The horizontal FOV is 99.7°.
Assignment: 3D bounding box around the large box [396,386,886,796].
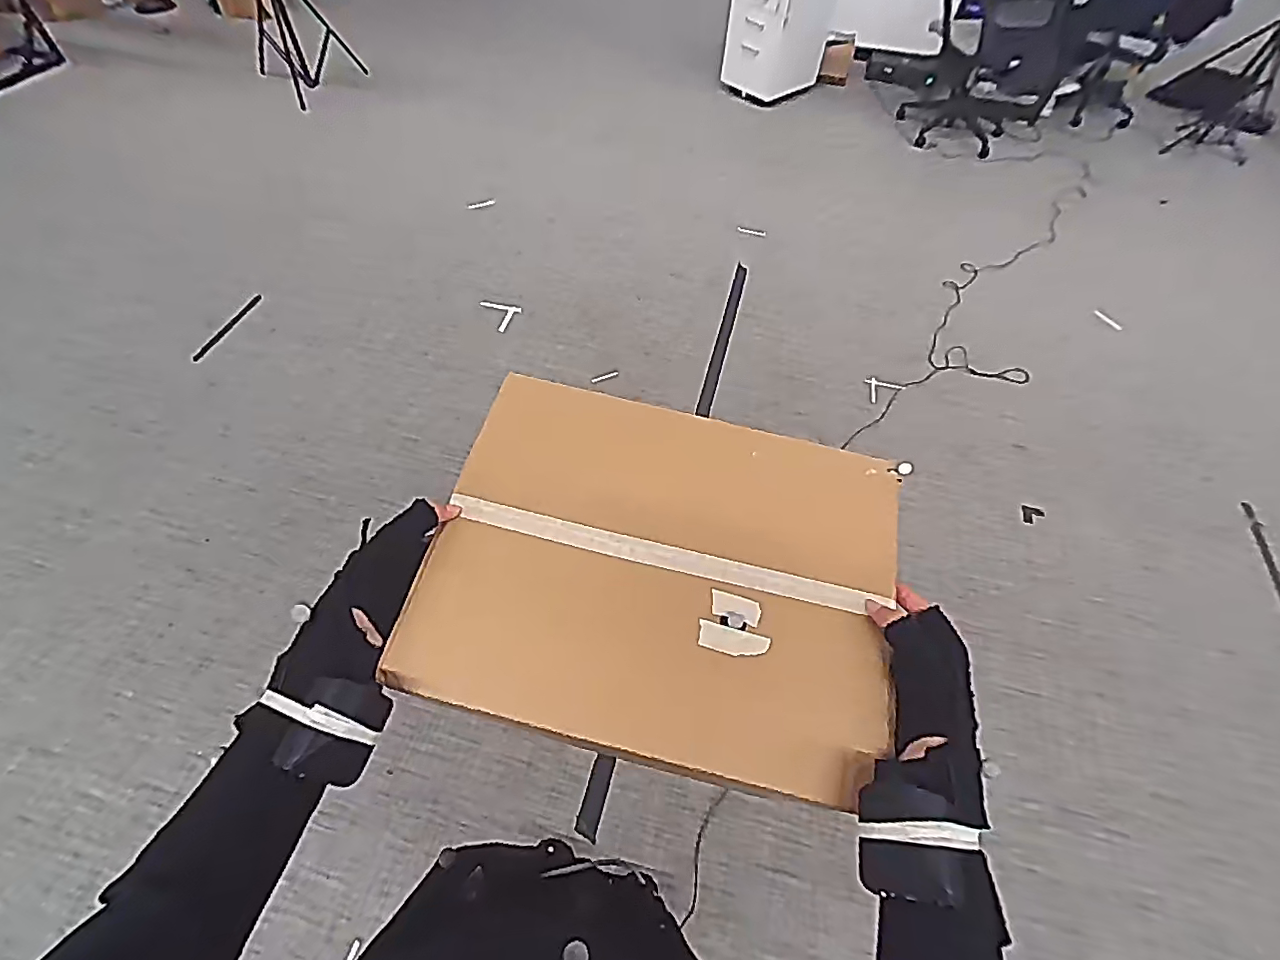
[{"bbox_3d":[0.014,0.140,0.625,0.408,0.320,0.320,14,63,2],"label":"large box"}]
